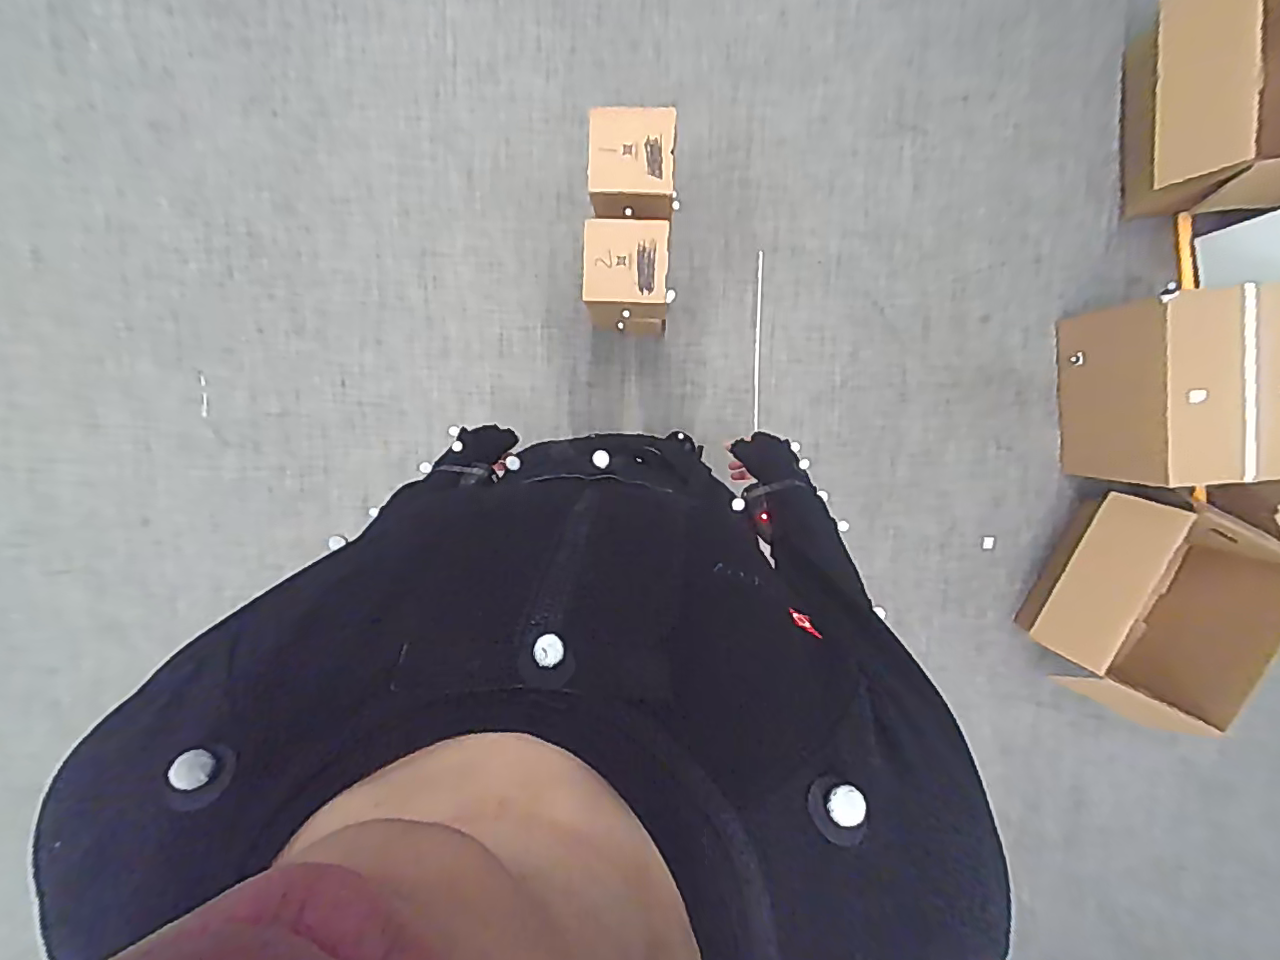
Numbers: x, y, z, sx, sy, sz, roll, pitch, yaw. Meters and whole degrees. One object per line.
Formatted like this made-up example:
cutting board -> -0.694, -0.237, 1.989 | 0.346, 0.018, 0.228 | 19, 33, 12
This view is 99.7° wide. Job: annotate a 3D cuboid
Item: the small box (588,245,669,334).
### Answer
small box -> -0.024, -0.467, 1.345 | 0.179, 0.176, 0.168 | 7, 96, 1
